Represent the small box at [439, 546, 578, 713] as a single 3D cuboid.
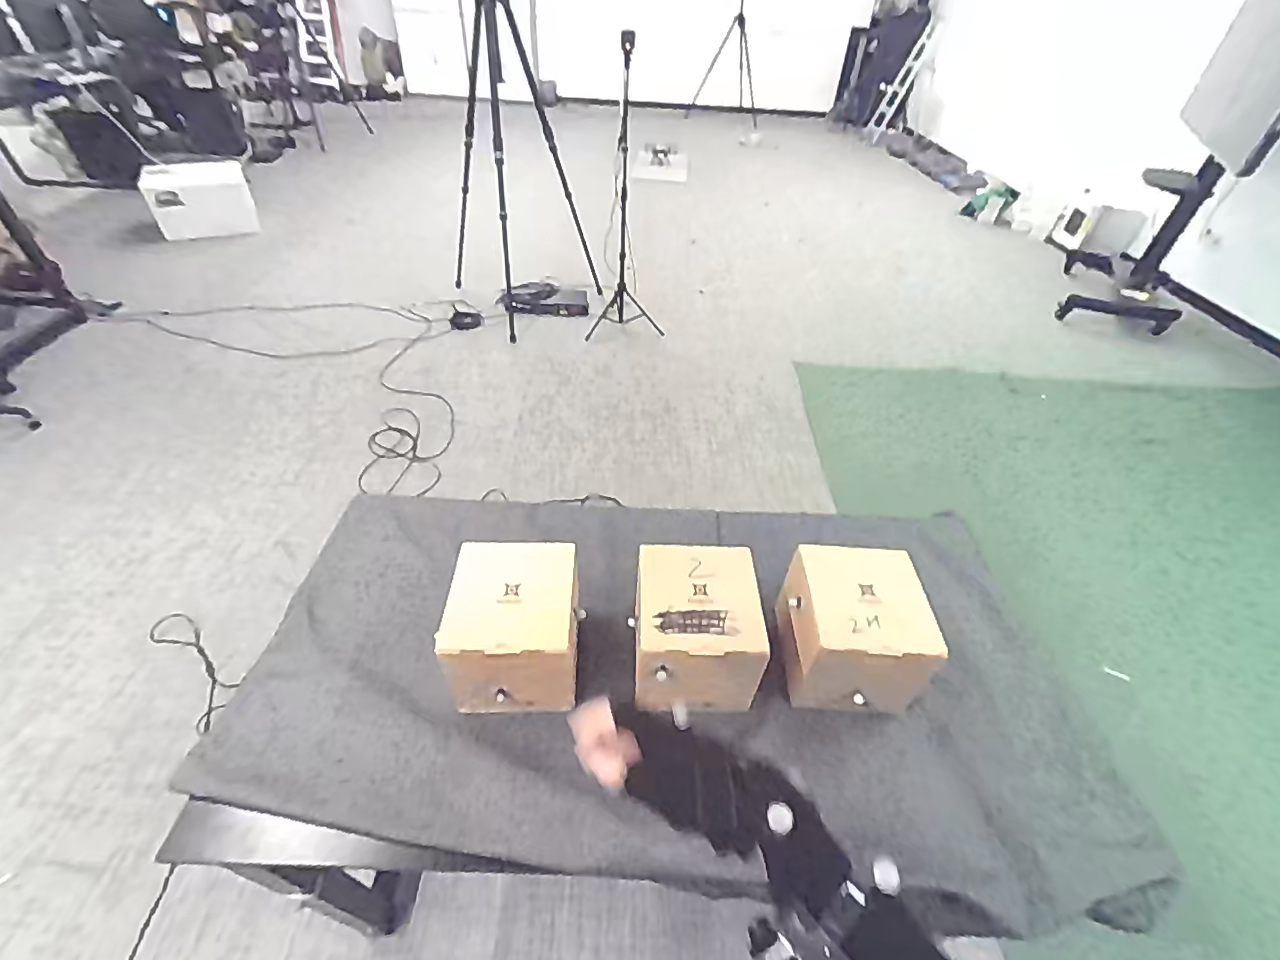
[{"bbox_3d":[-0.178,0.217,0.791,0.168,0.176,0.179,1,43,-4],"label":"small box"}]
